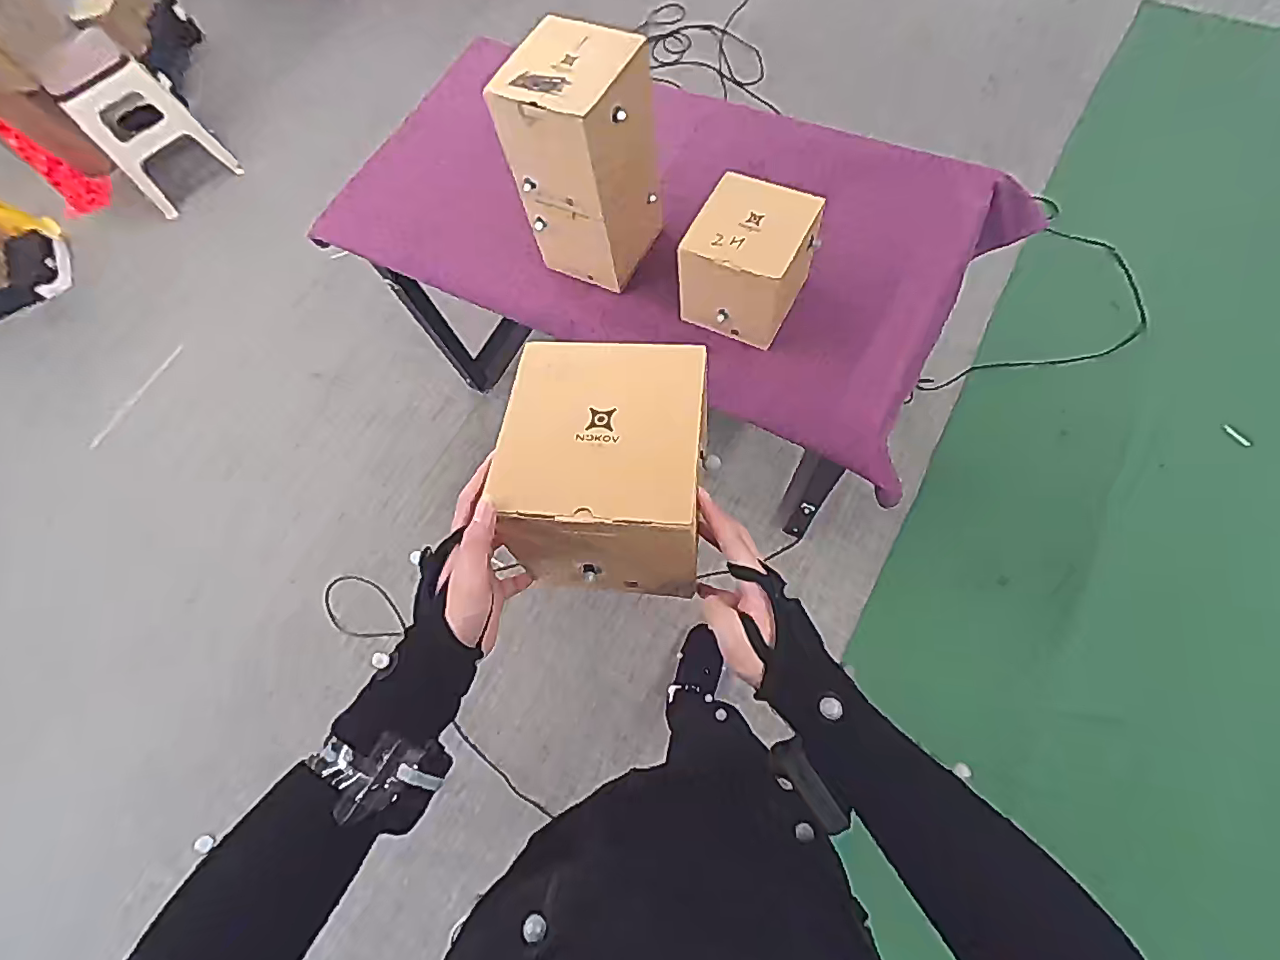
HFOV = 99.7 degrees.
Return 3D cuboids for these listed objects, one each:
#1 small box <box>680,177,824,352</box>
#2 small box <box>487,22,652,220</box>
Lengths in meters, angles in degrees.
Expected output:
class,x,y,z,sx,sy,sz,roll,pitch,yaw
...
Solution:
class,x,y,z,sx,sy,sz,roll,pitch,yaw
small box,0.176,-0.347,0.888,0.168,0.176,0.179,26,73,16
small box,-0.091,-0.530,0.812,0.168,0.176,0.179,26,73,15
